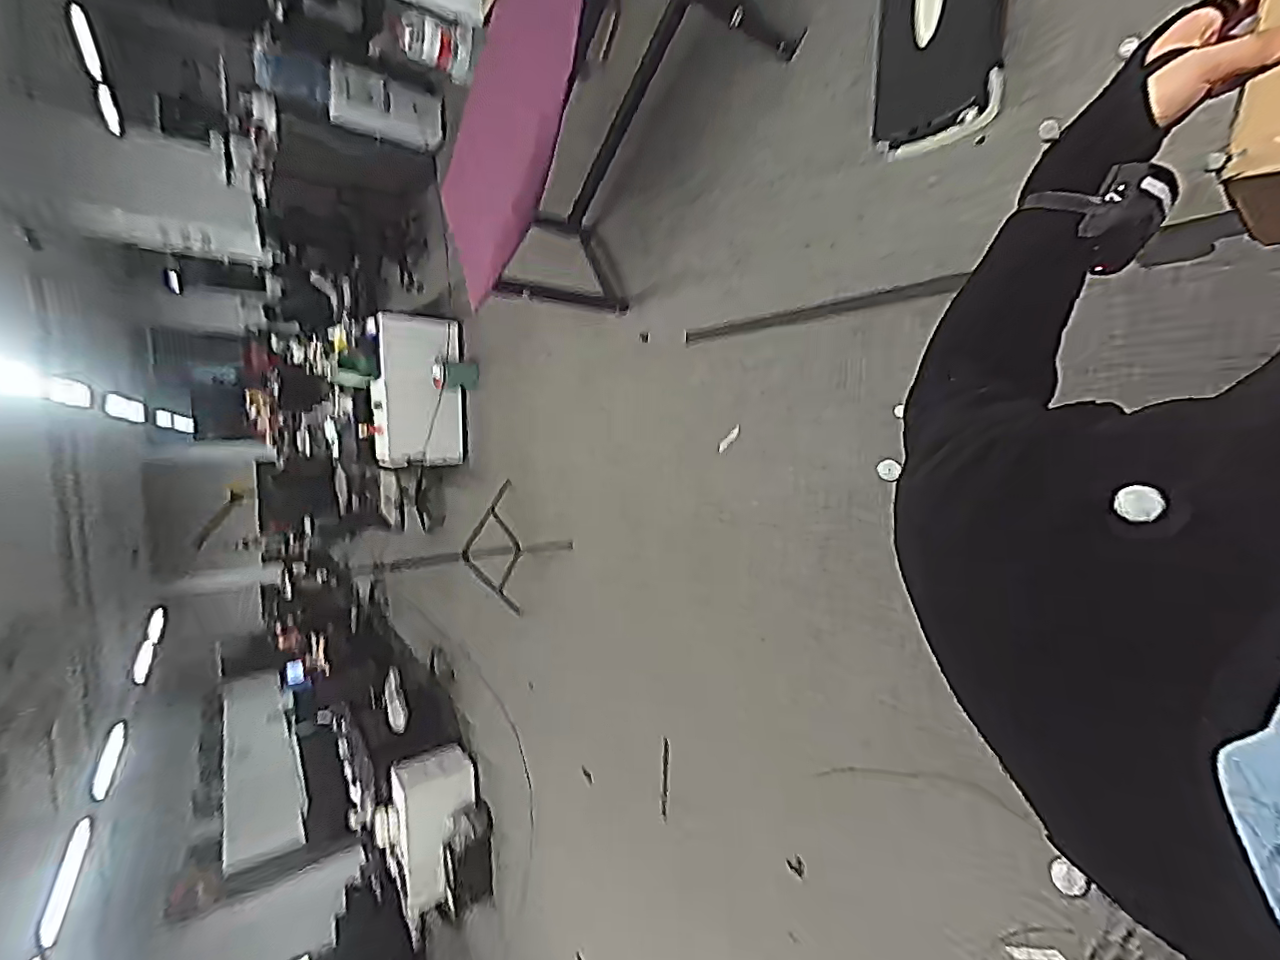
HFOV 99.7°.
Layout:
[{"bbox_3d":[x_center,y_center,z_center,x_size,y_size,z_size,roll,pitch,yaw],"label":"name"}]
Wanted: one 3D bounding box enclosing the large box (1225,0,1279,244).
[{"bbox_3d":[0.668,-0.348,0.299,0.408,0.320,0.320,15,106,52],"label":"large box"}]
